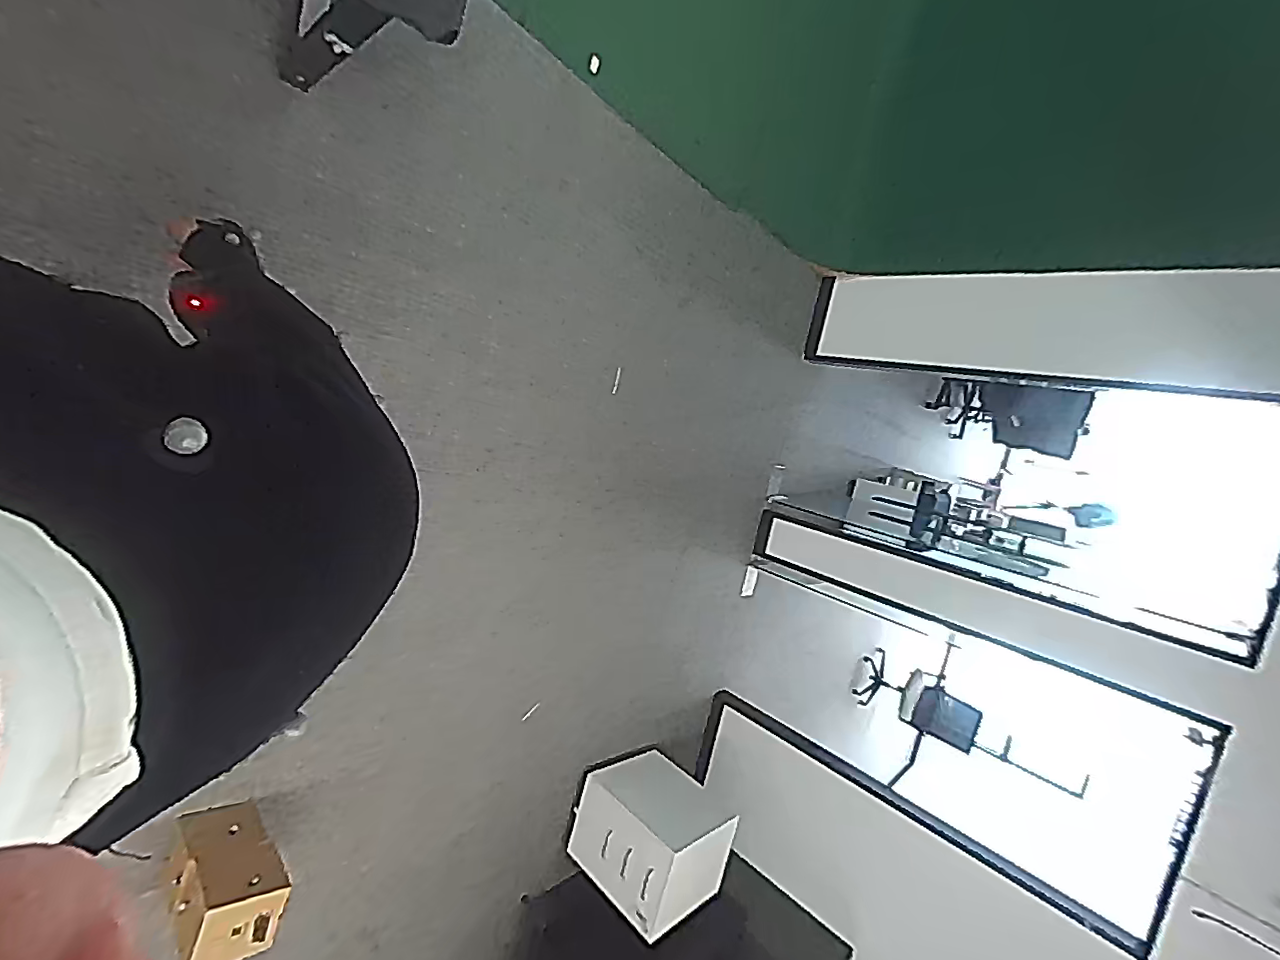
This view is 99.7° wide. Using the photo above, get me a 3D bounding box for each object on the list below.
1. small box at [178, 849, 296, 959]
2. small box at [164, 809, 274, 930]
[{"bbox_3d":[-0.978,1.043,1.311,0.179,0.176,0.168,19,89,-48],"label":"small box"},{"bbox_3d":[-1.102,1.001,1.413,0.179,0.176,0.168,17,91,-49],"label":"small box"}]
